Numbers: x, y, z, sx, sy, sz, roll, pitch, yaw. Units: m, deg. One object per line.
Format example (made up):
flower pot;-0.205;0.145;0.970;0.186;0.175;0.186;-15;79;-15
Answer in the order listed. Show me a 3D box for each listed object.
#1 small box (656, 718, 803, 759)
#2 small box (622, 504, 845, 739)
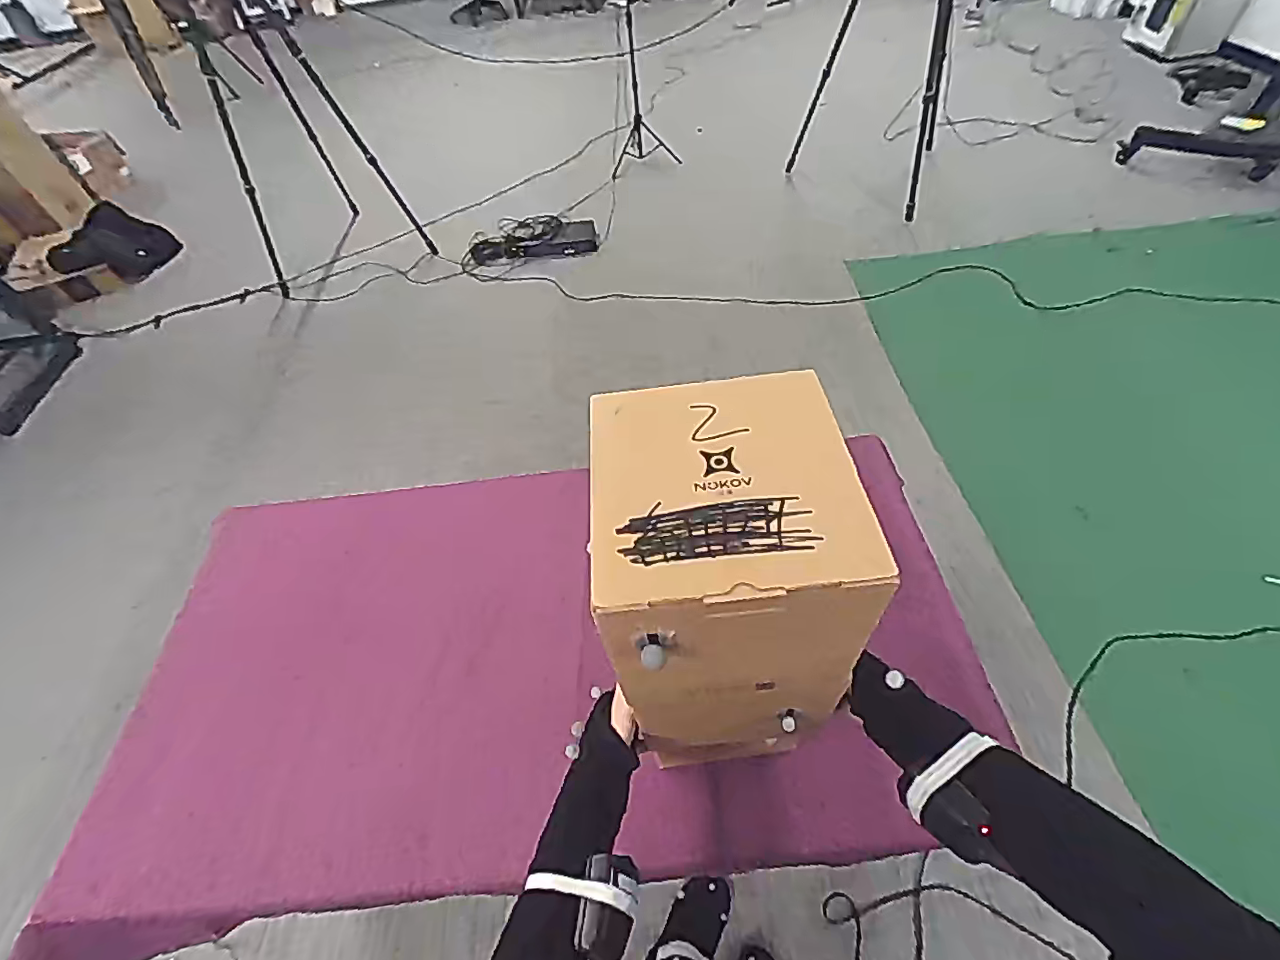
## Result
small box;0.097;0.235;0.679;0.179;0.176;0.168;-9;50;0
small box;0.081;0.146;0.542;0.179;0.176;0.168;-8;50;2
